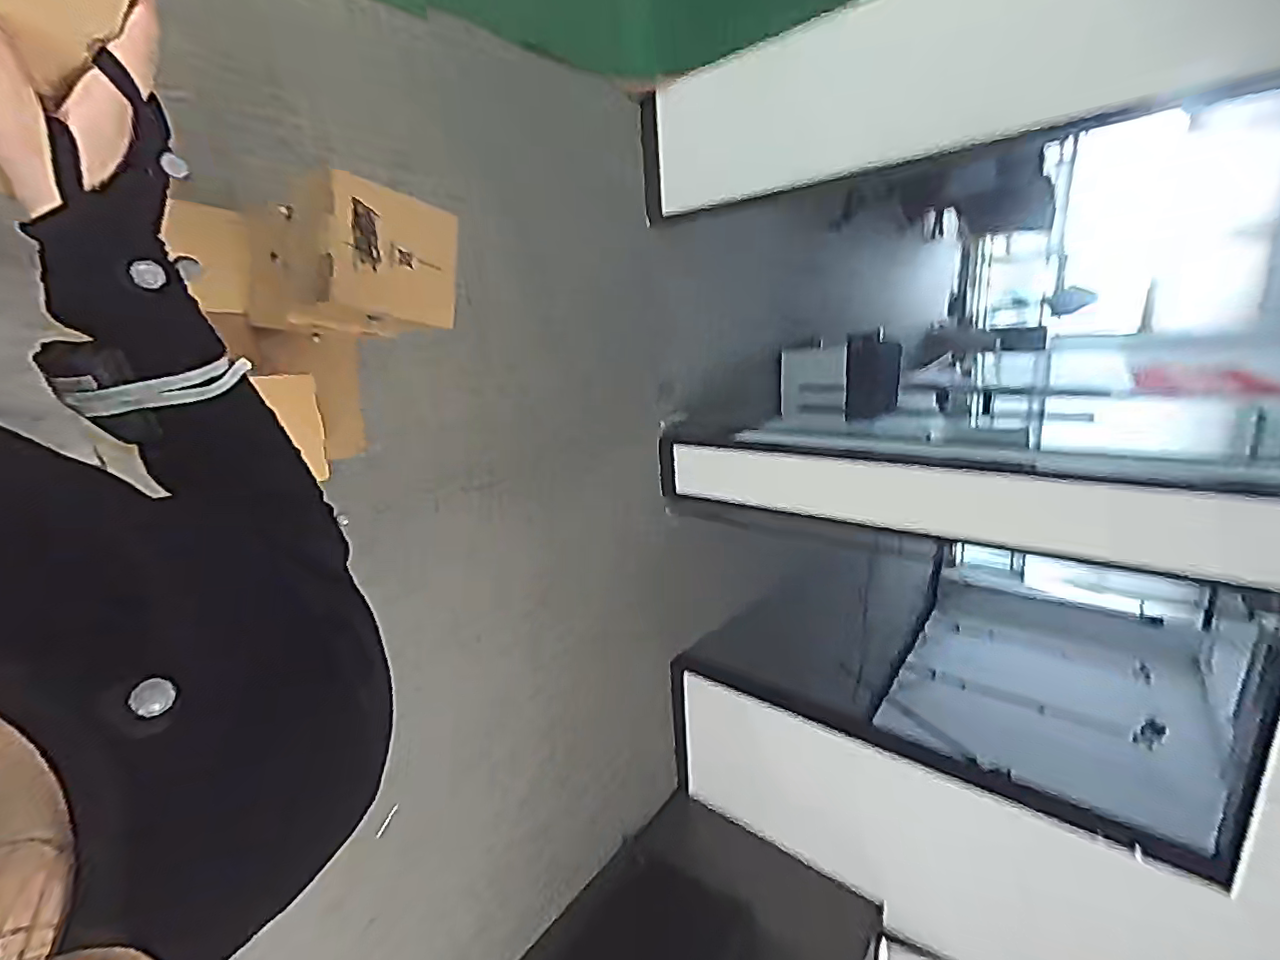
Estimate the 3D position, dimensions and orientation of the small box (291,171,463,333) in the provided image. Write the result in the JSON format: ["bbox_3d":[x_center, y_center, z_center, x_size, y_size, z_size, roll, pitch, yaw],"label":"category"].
[{"bbox_3d":[-0.385,-0.314,0.789,0.179,0.176,0.168,-2,99,-52],"label":"small box"}]

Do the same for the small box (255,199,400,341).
[{"bbox_3d":[-0.514,-0.330,0.891,0.168,0.176,0.179,-4,101,-50],"label":"small box"}]

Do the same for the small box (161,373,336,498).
[{"bbox_3d":[-0.603,-0.077,0.831,0.179,0.176,0.168,-16,110,-48],"label":"small box"}]
